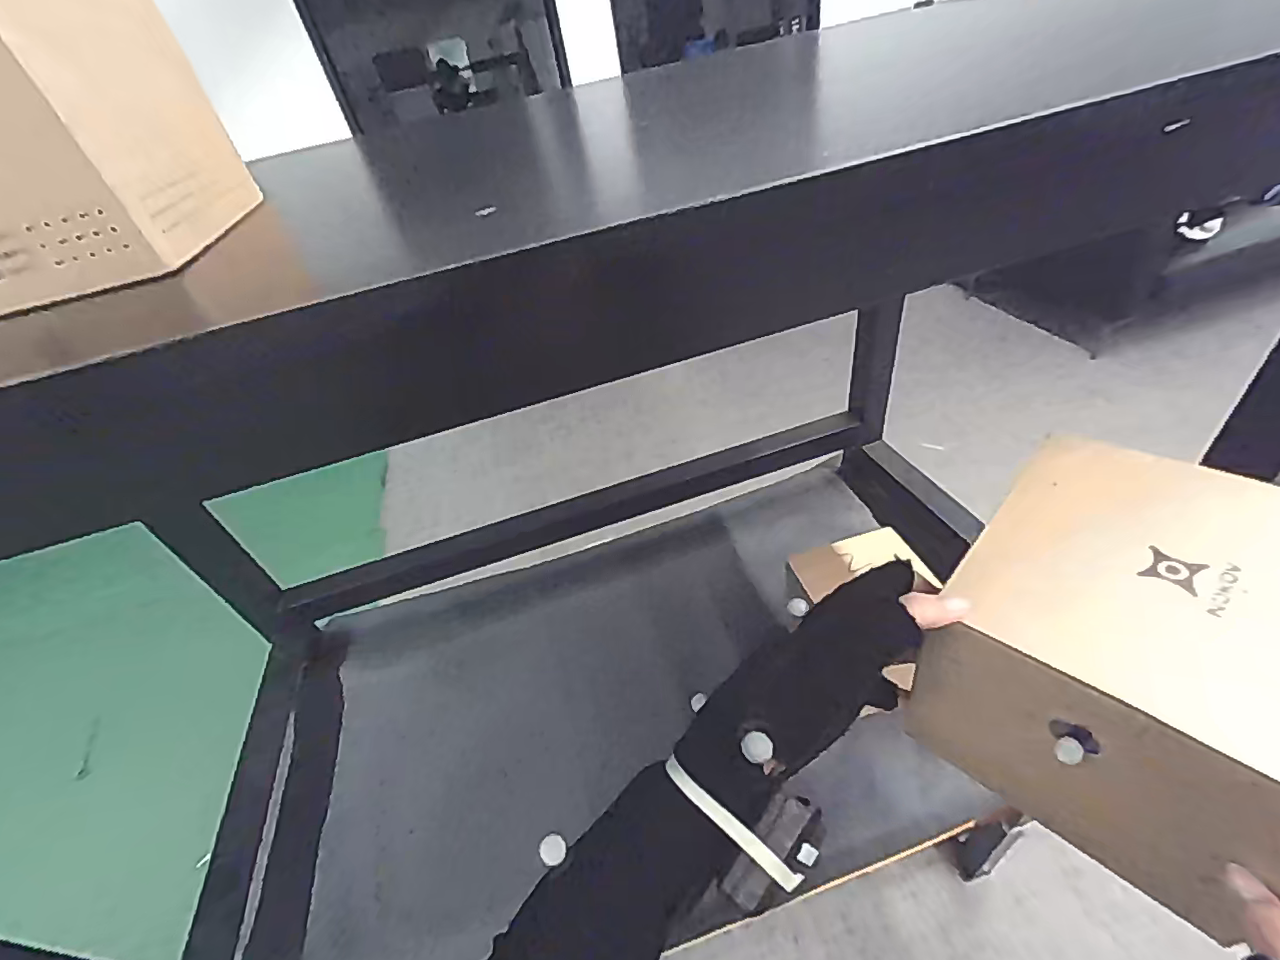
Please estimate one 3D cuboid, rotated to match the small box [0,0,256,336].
[{"bbox_3d":[-0.312,-0.164,0.235,0.168,0.176,0.179,-19,39,-8],"label":"small box"}]
